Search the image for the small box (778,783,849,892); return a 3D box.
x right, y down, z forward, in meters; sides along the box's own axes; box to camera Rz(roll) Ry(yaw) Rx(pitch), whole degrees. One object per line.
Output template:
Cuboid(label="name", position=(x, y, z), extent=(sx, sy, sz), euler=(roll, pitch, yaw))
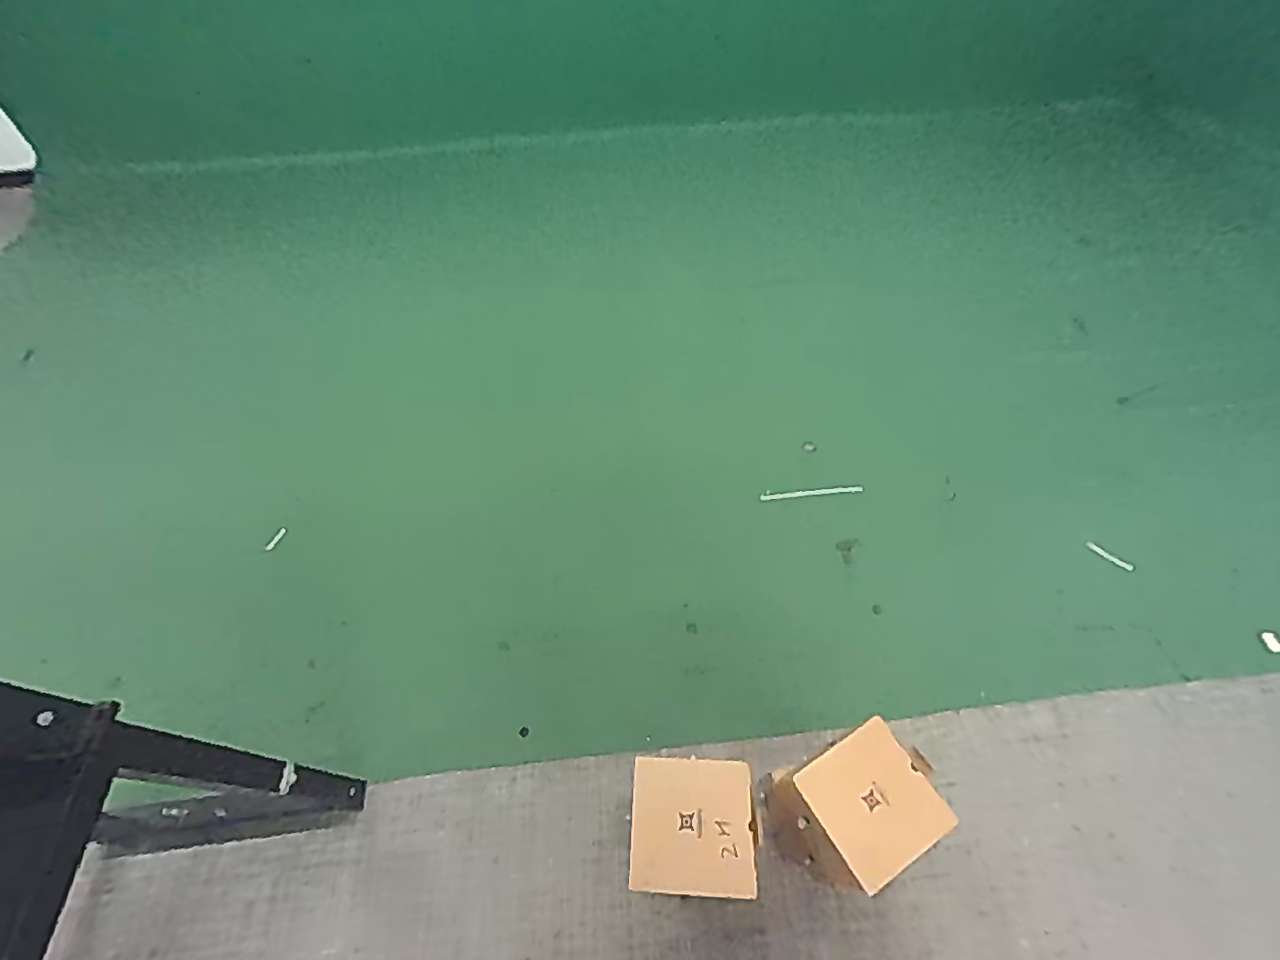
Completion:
Cuboid(label="small box", position=(0.365, 0.596, 0.964), extent=(0.179, 0.176, 0.168), euler=(-22, 59, -13))

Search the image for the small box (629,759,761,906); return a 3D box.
Cuboid(label="small box", position=(0.082, 0.530, 0.817), extent=(0.179, 0.176, 0.168), euler=(1, 56, 4))

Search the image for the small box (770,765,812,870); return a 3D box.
Cuboid(label="small box", position=(0.377, 0.678, 1.103), extent=(0.179, 0.176, 0.168), euler=(-12, 56, -6))

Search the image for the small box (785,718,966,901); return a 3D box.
Cuboid(label="small box", position=(0.343, 0.502, 0.831), extent=(0.179, 0.176, 0.168), euler=(-27, 60, -16))
